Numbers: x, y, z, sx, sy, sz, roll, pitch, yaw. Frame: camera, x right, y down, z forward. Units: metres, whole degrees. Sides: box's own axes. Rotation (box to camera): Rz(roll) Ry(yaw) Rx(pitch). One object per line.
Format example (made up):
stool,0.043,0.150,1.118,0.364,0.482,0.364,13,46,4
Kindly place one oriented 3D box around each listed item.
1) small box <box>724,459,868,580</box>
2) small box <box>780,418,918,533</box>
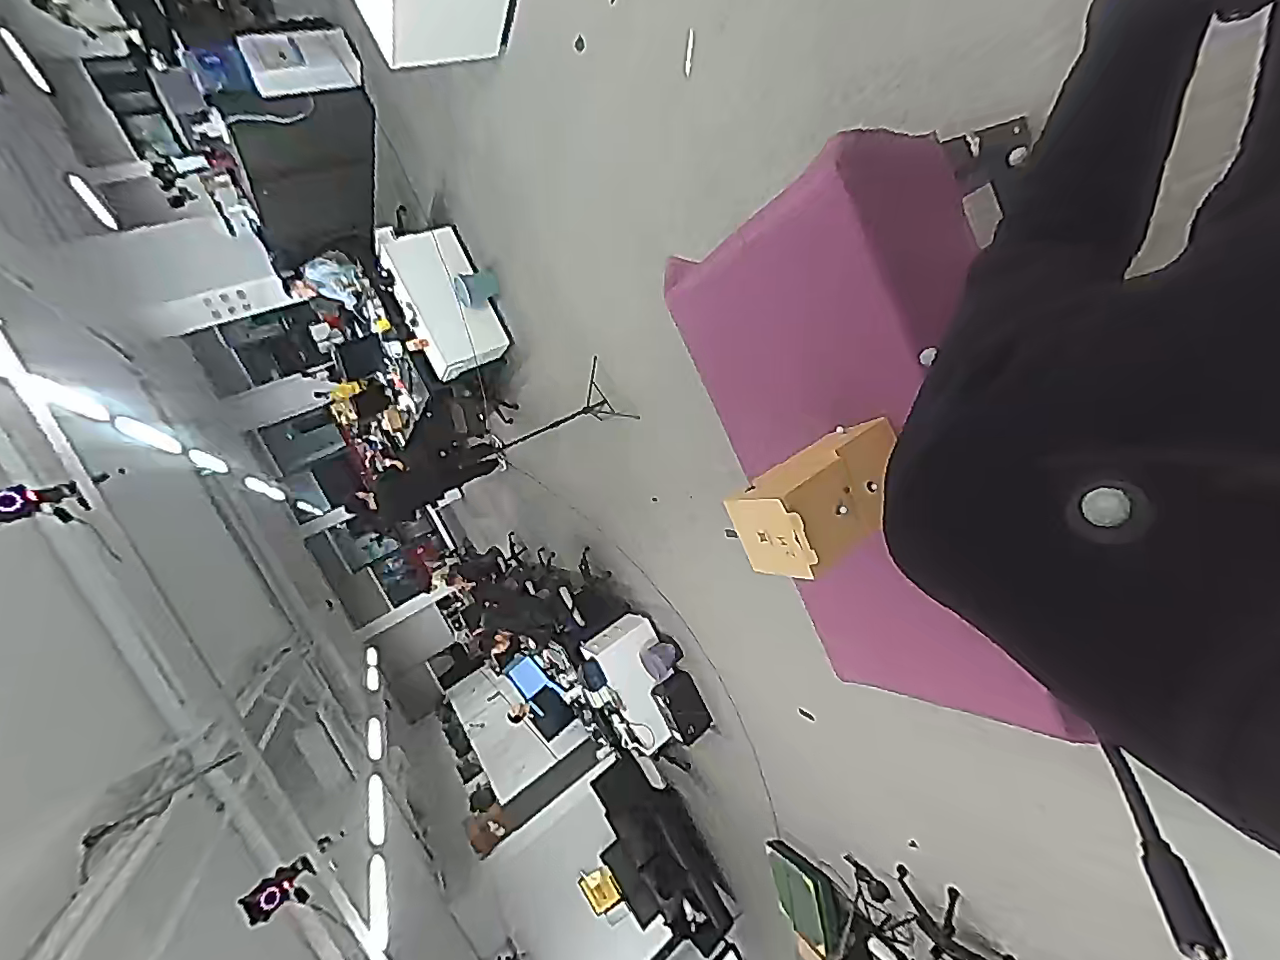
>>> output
small box,0.300,0.072,1.046,0.179,0.176,0.168,-7,110,63
small box,0.431,-0.002,1.113,0.179,0.176,0.168,62,154,-3
